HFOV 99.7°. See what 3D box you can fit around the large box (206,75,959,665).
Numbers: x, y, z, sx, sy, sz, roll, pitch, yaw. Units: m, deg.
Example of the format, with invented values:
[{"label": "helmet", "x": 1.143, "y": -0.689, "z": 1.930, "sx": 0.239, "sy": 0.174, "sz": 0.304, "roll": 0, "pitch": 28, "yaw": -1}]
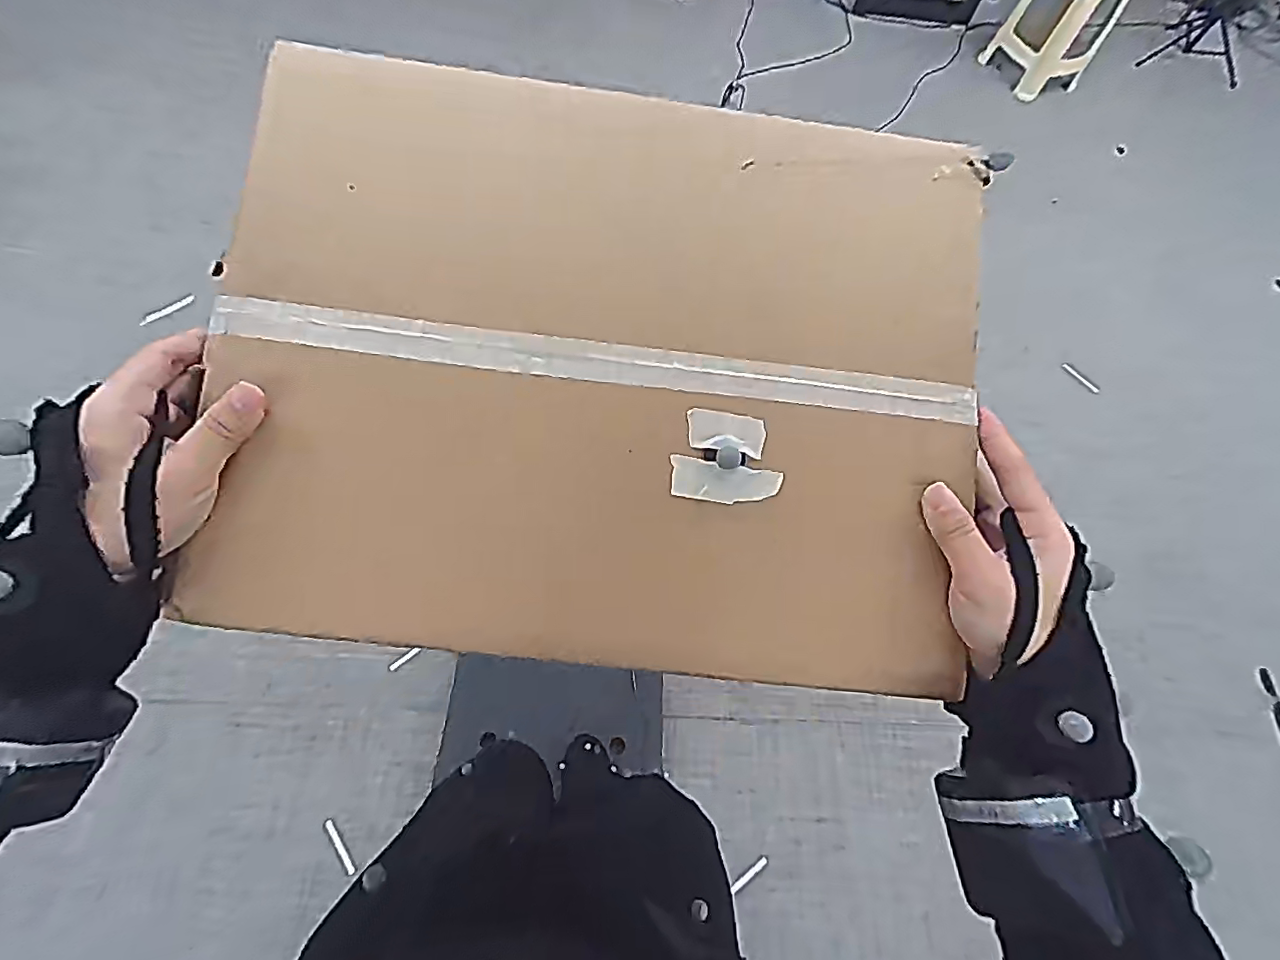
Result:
[{"label": "large box", "x": -0.026, "y": -0.051, "z": 0.454, "sx": 0.408, "sy": 0.320, "sz": 0.320, "roll": 7, "pitch": 84, "yaw": -3}]
